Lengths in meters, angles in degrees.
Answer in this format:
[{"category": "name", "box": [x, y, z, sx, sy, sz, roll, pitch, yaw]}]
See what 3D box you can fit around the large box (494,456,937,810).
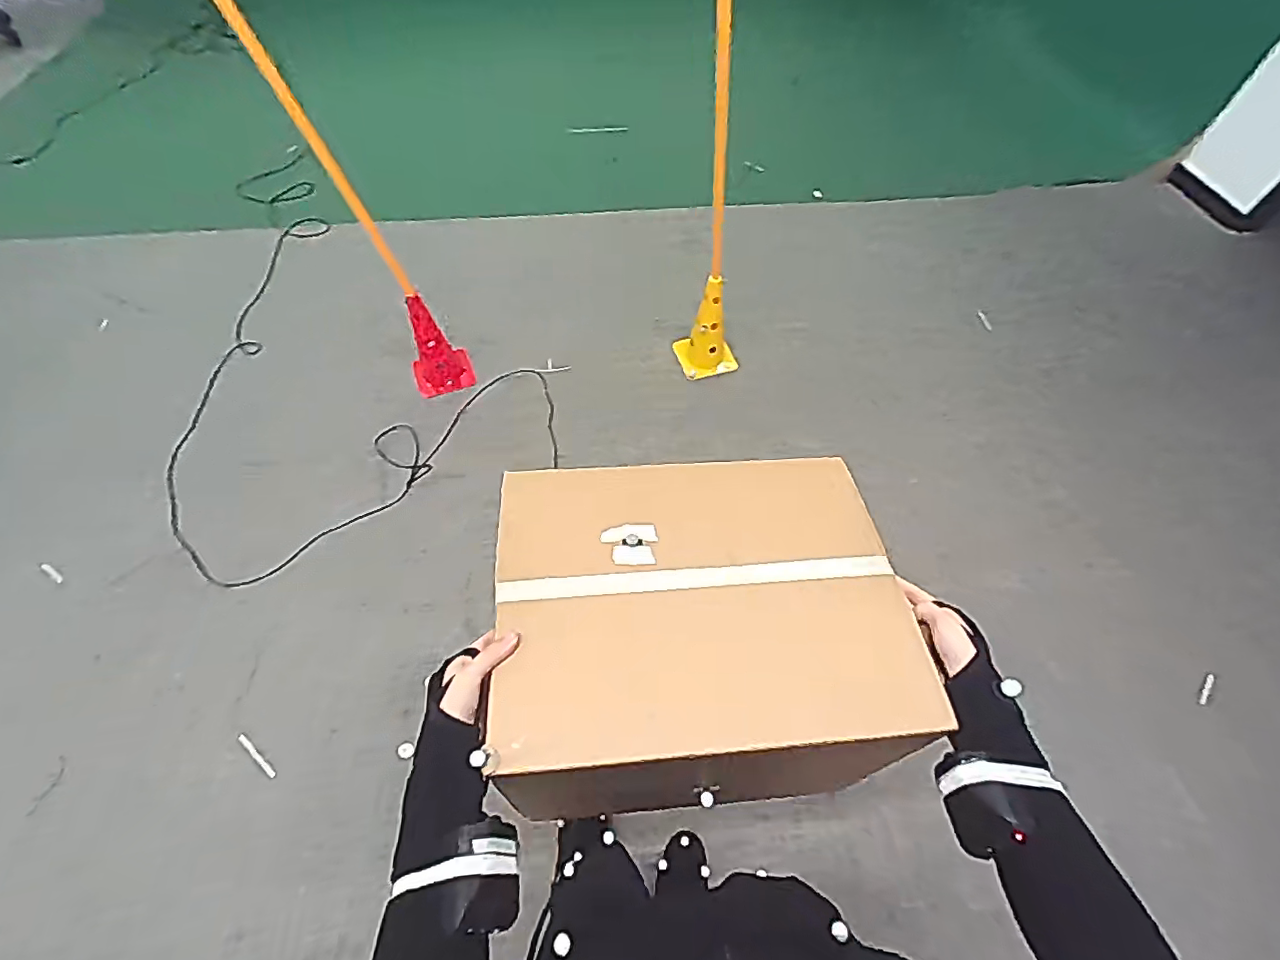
[{"category": "large box", "box": [0.054, 0.197, 0.675, 0.408, 0.320, 0.320, -4, 52, -5]}]
